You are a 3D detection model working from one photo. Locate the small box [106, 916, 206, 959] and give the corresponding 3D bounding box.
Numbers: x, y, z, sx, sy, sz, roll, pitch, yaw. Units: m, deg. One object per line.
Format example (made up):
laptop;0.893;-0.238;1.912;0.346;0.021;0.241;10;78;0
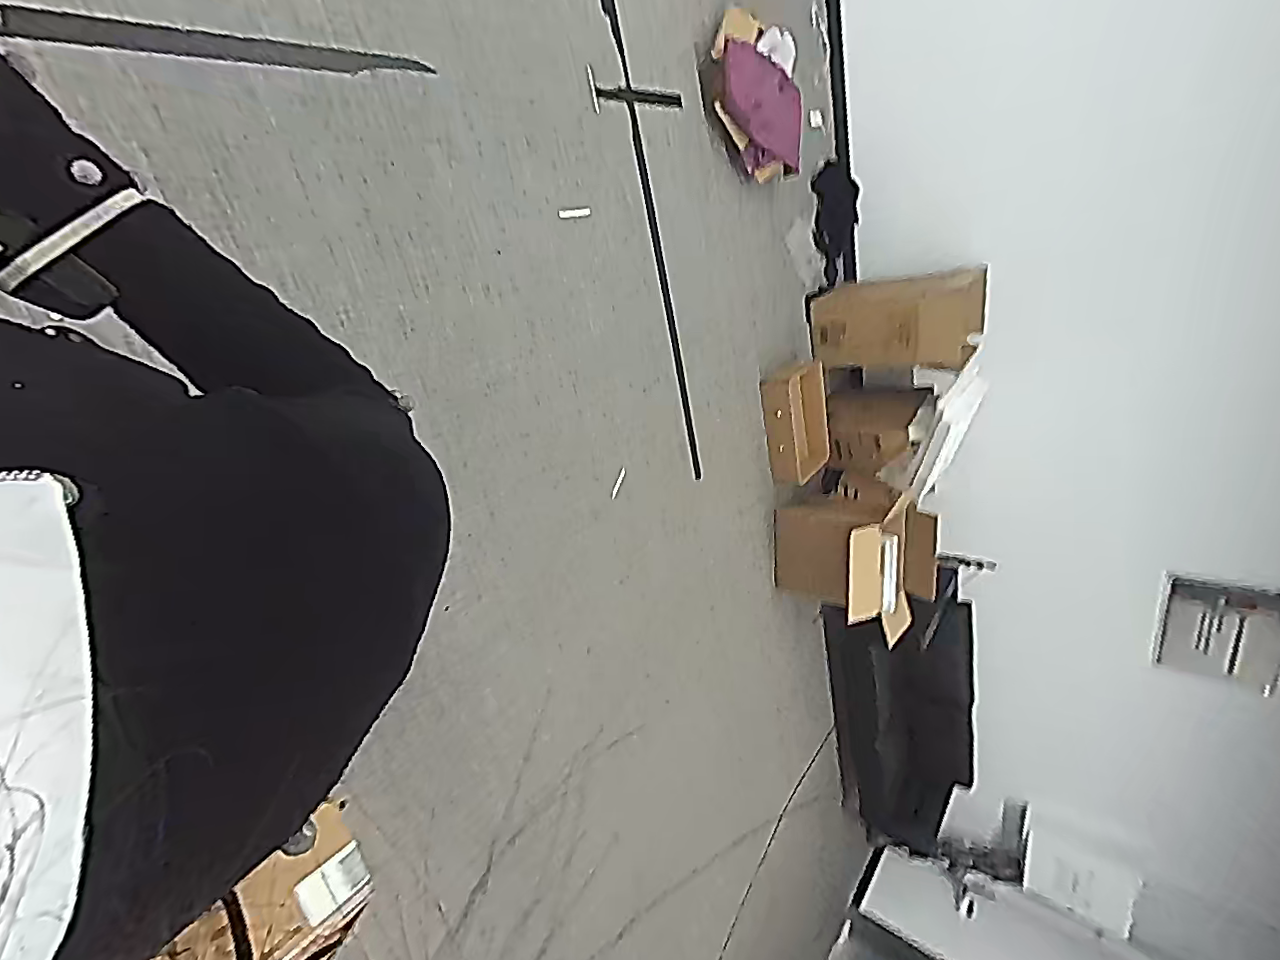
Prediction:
small box;-0.742;0.811;0.790;0.179;0.176;0.168;-28;116;-42
